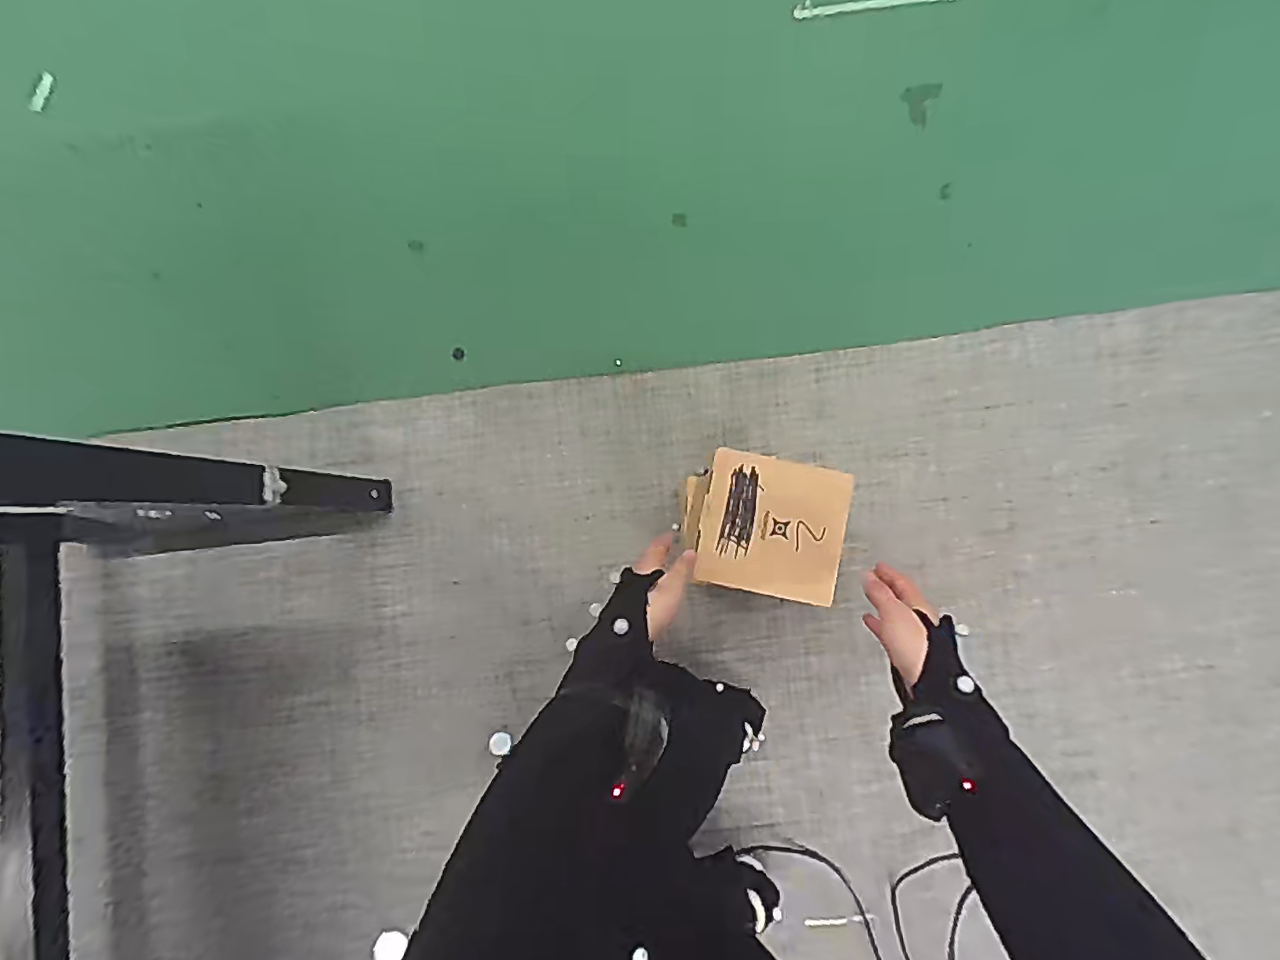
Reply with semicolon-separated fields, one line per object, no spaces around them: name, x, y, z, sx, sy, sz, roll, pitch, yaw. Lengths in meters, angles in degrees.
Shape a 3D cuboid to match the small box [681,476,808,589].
small box;0.164;0.083;0.892;0.179;0.176;0.168;2;86;1
